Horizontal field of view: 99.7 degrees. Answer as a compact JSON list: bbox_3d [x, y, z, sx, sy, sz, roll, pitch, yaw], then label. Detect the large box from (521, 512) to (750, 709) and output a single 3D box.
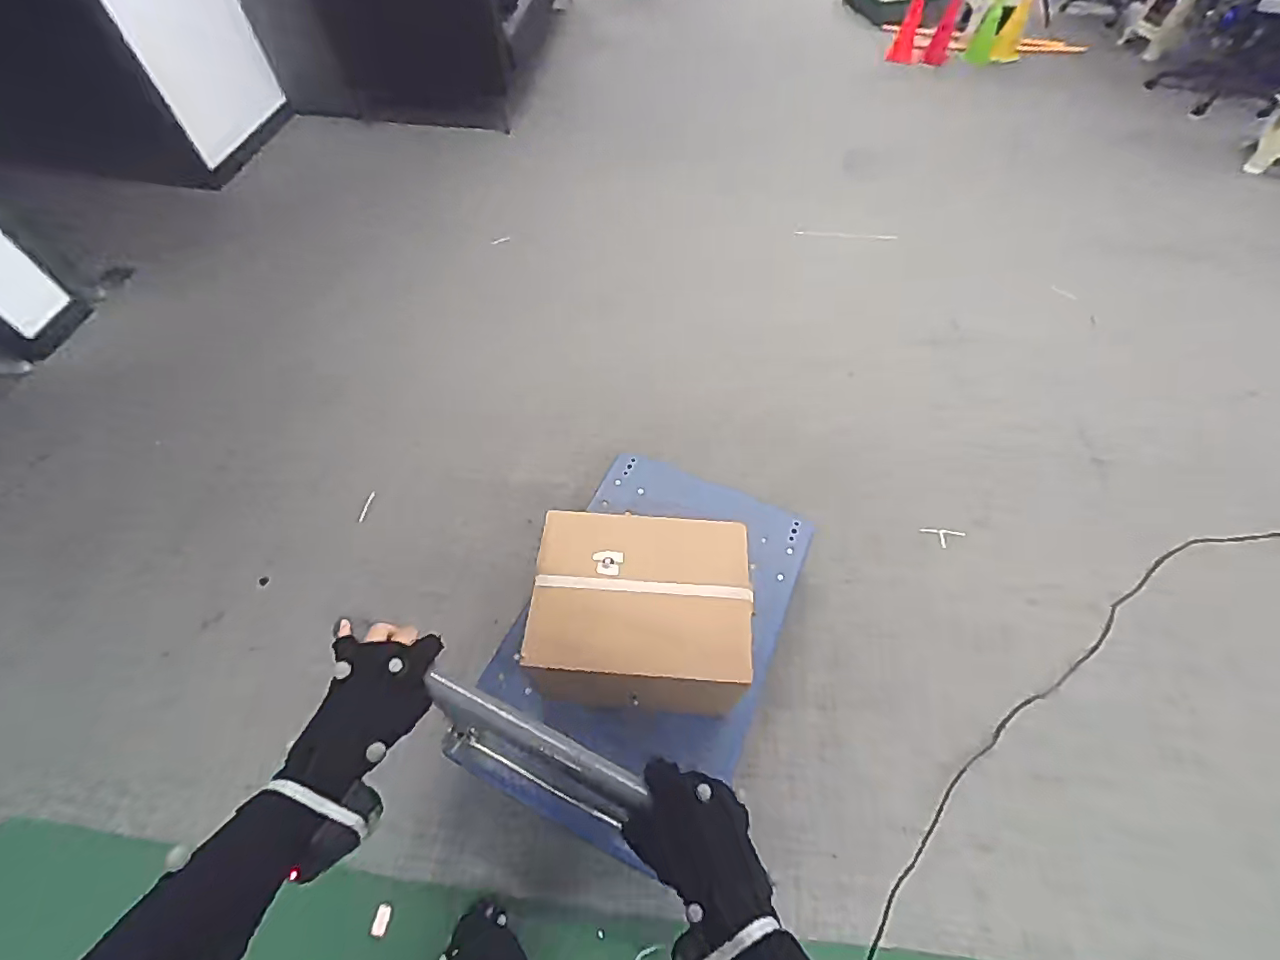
[{"bbox_3d":[0.004,0.283,1.134,0.408,0.320,0.320,4,57,3],"label":"large box"}]
